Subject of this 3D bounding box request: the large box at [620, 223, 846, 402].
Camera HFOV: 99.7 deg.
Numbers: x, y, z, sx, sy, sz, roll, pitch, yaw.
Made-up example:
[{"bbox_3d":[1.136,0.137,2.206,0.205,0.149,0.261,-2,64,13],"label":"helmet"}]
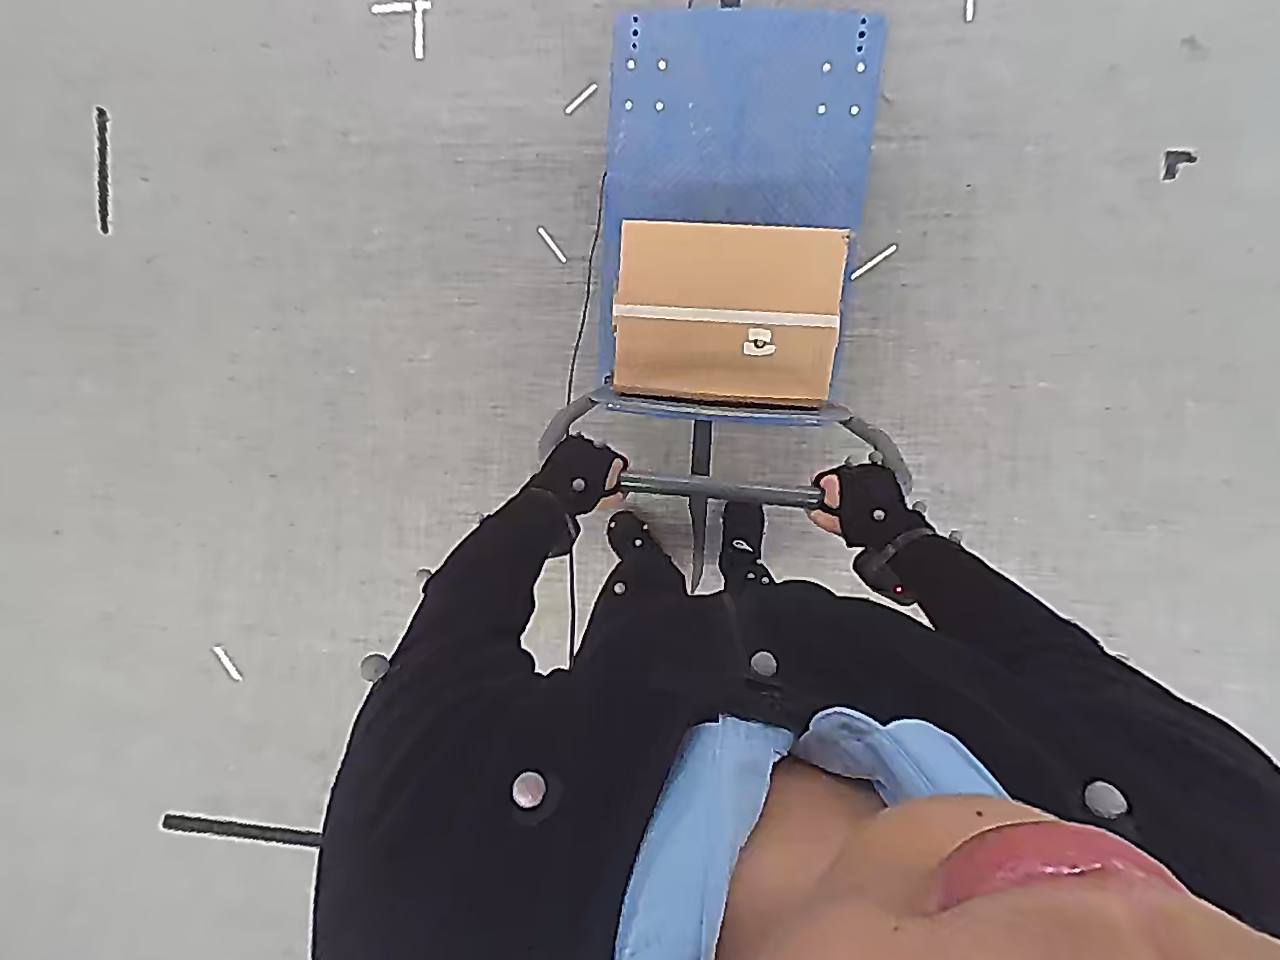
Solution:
[{"bbox_3d":[0.176,-0.341,1.155,0.408,0.320,0.320,5,103,5],"label":"large box"}]
